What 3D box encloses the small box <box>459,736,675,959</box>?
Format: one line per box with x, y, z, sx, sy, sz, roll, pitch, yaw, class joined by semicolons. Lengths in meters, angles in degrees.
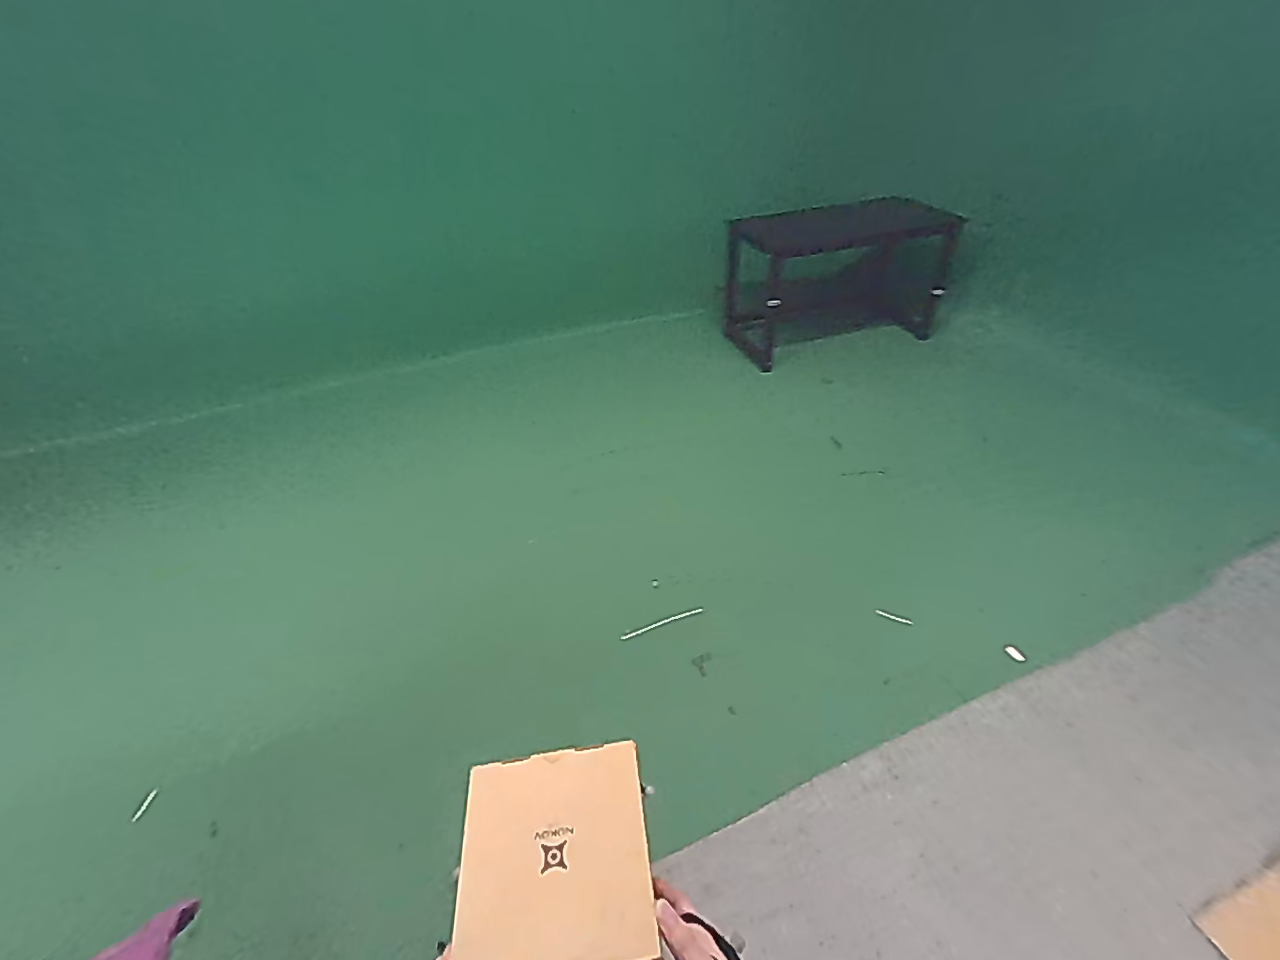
-0.060;0.383;0.520;0.168;0.176;0.179;-7;36;-3;small box
